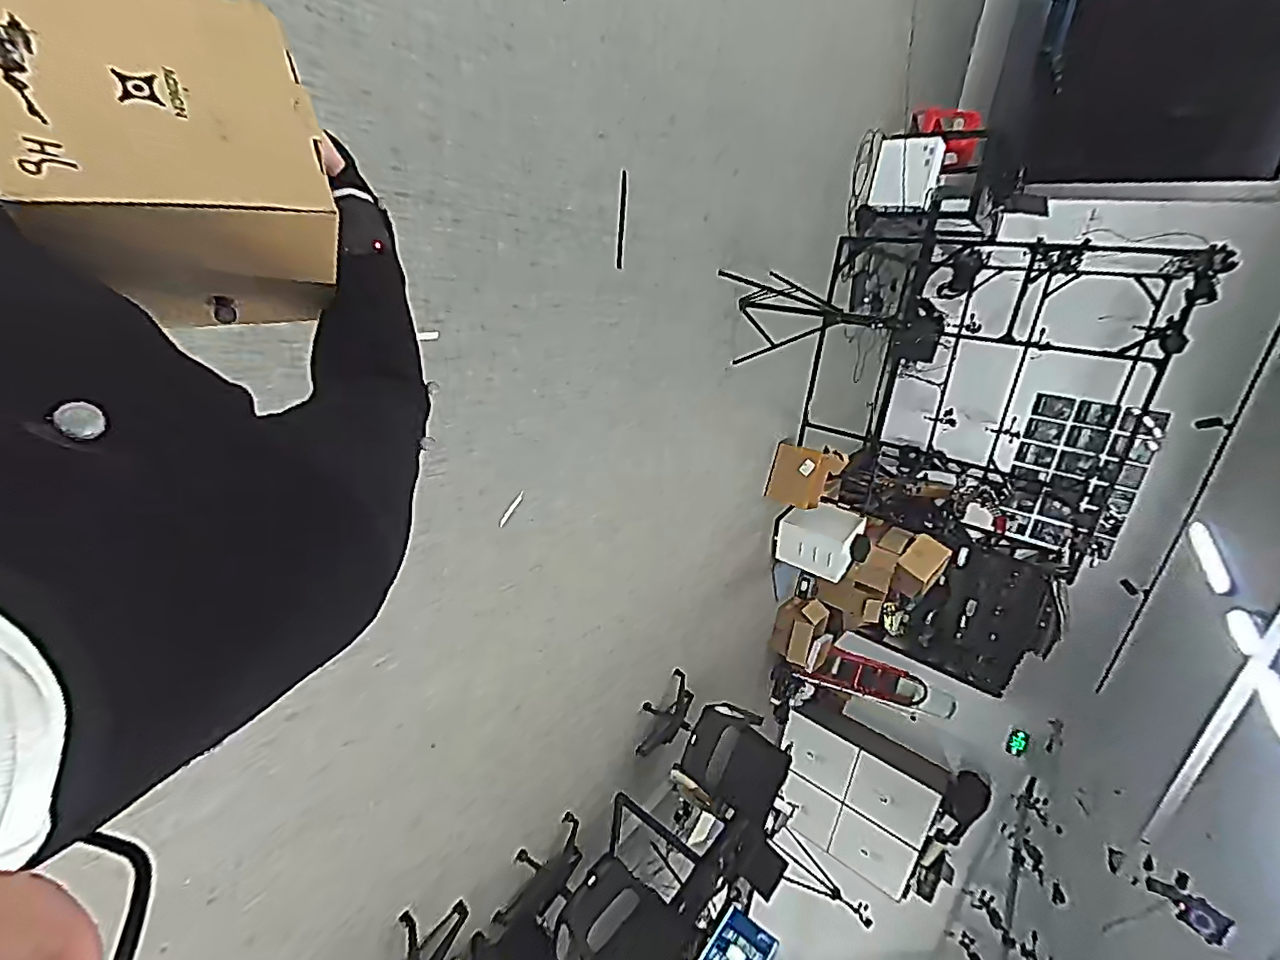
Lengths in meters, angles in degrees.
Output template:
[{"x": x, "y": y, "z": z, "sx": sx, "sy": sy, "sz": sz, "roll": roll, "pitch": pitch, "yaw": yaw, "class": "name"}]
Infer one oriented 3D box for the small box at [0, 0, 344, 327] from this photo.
[{"x": -0.362, "y": -0.240, "z": 0.439, "sx": 0.179, "sy": 0.176, "sz": 0.168, "roll": -16, "pitch": 85, "yaw": -33, "class": "small box"}]
